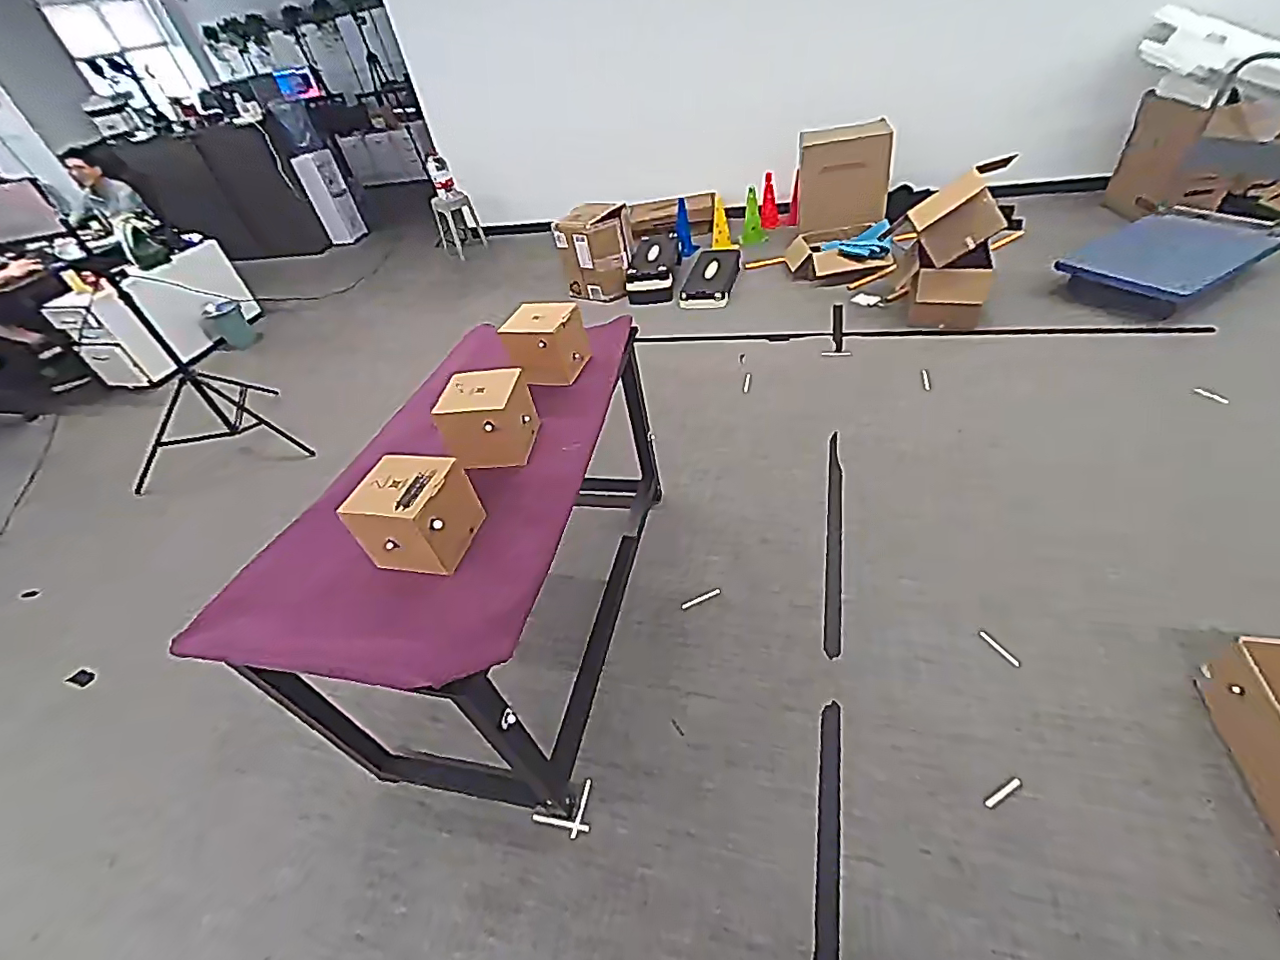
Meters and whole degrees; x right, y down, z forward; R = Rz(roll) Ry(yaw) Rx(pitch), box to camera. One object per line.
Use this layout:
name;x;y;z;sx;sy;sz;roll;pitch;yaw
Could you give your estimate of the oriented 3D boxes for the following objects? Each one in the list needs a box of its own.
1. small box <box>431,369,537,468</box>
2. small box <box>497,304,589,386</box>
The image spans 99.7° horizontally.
small box;-0.360;-0.143;1.291;0.179;0.176;0.168;-4;42;10
small box;-0.267;-0.380;1.525;0.179;0.176;0.168;5;45;20
